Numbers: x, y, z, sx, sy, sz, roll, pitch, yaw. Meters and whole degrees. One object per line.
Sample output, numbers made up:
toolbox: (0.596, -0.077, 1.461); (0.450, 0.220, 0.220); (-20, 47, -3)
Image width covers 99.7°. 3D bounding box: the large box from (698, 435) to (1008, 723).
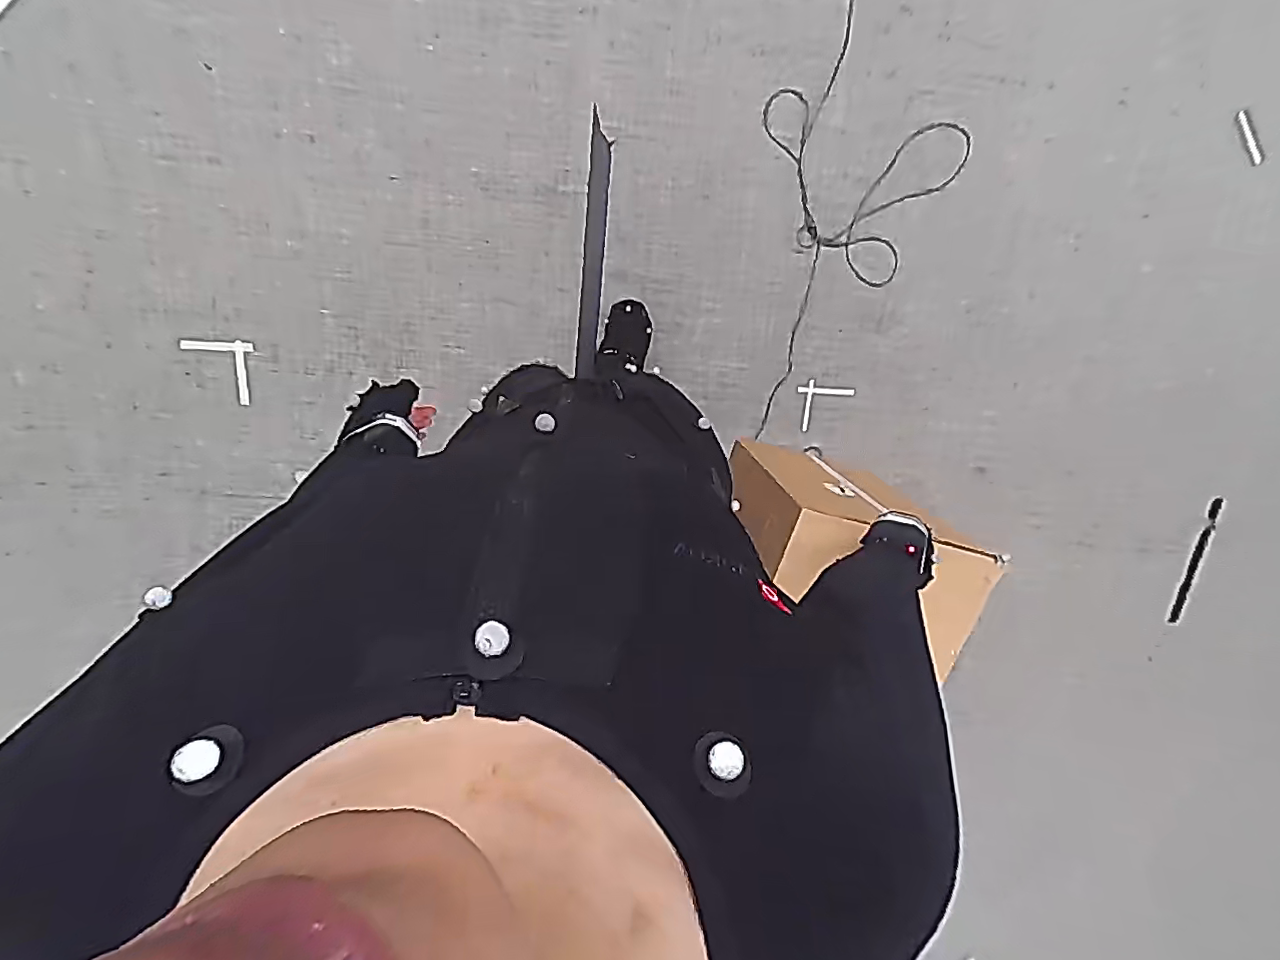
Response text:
large box: (0.321, 0.148, 0.969); (0.320, 0.408, 0.320); (14, 108, -7)
